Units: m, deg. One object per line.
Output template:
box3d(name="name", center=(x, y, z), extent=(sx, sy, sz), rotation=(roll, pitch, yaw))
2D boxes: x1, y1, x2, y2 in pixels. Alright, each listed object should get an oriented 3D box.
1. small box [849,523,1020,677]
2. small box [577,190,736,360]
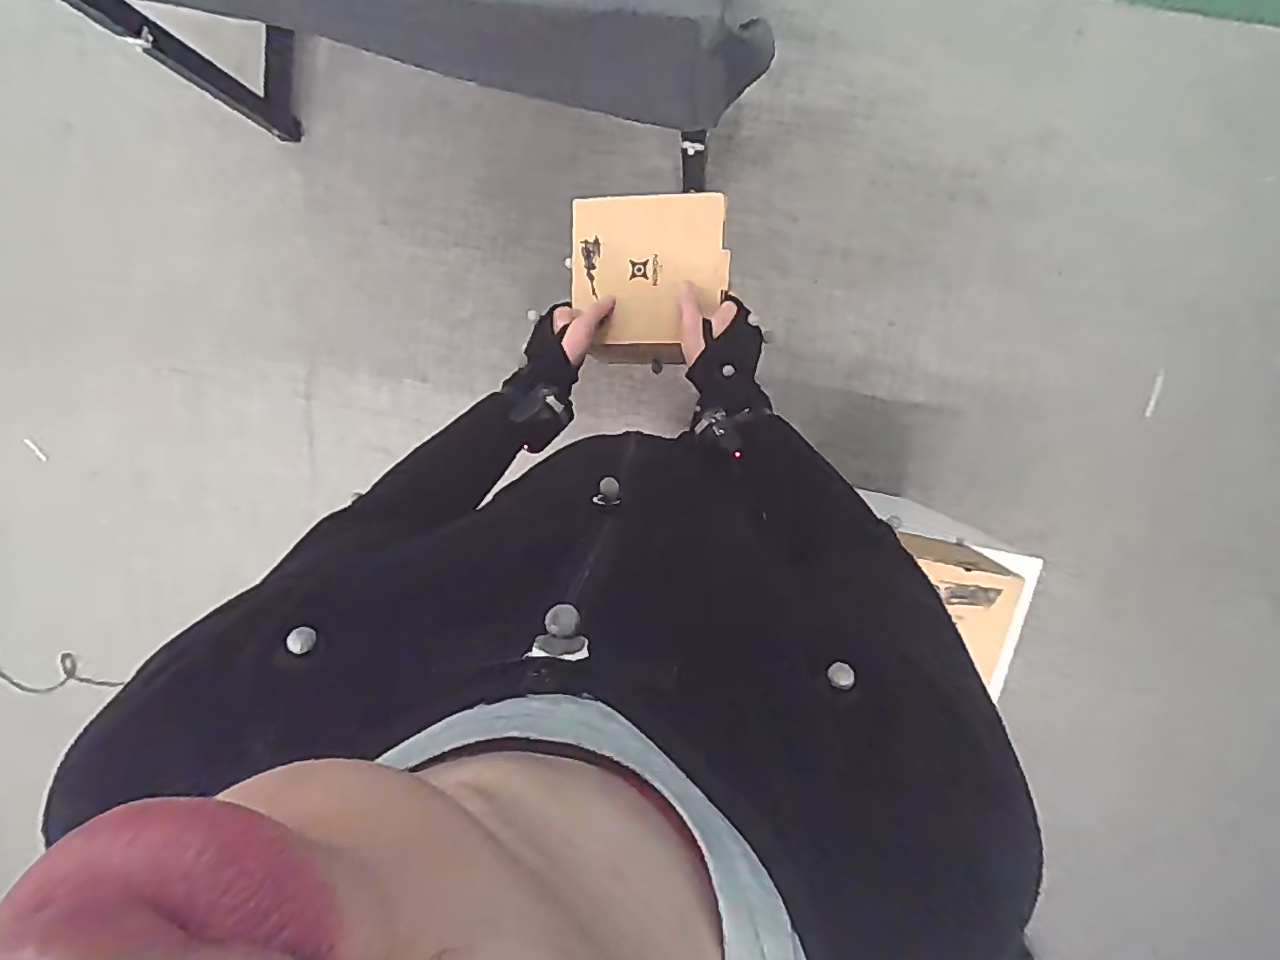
box3d(name="small box", center=(0.459, 0.182, 0.875), extent=(0.168, 0.176, 0.179), rotation=(11, 102, 2))
box3d(name="small box", center=(0.024, -0.246, 0.682), extent=(0.179, 0.176, 0.168), rotation=(2, 95, 6))
